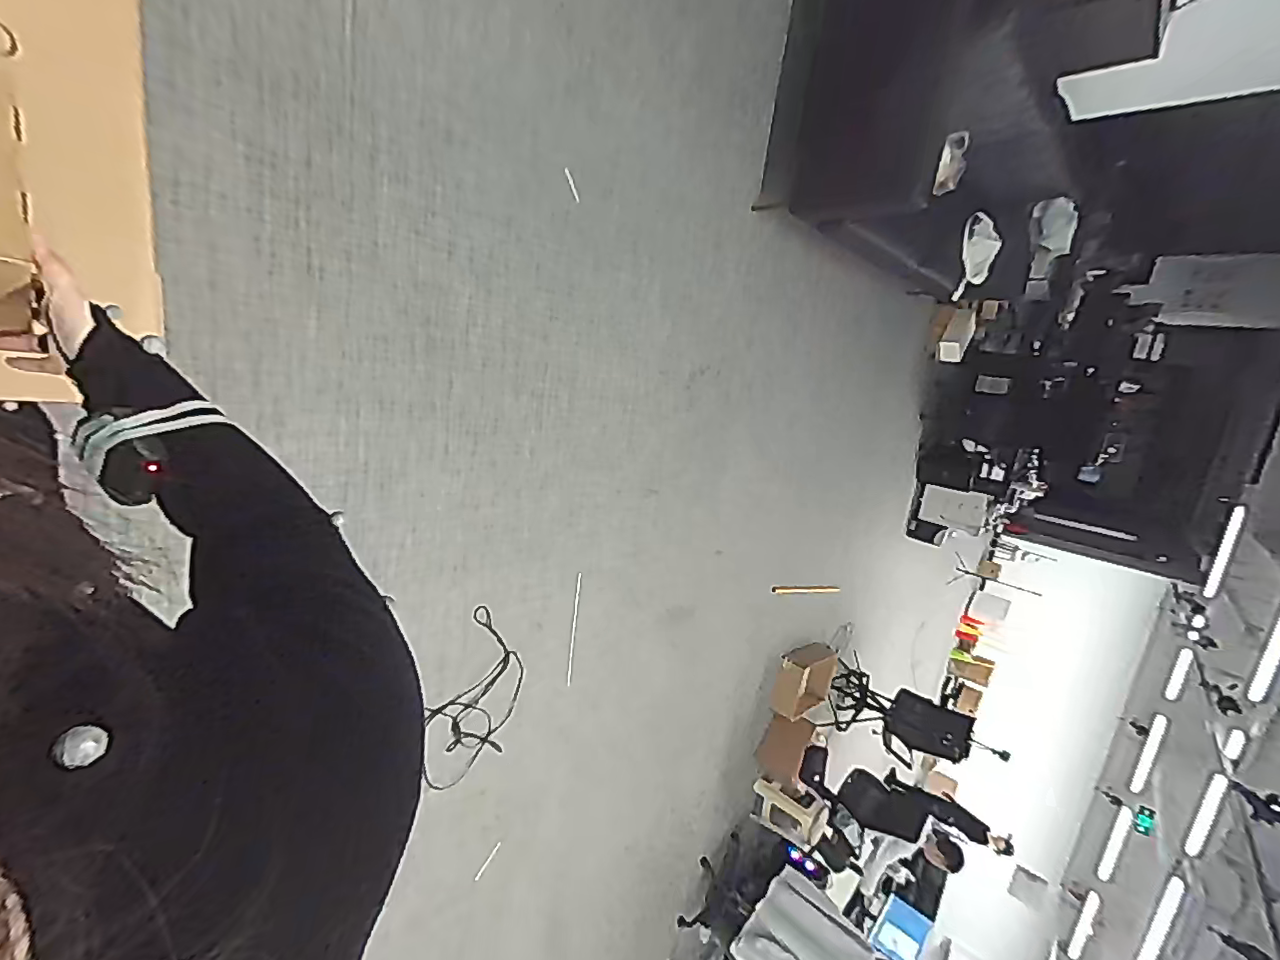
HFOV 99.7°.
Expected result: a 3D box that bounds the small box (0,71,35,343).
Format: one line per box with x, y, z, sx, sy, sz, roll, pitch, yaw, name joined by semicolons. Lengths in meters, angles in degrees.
-0.593;-0.218;0.408;0.179;0.176;0.168;-4;79;-49;small box
